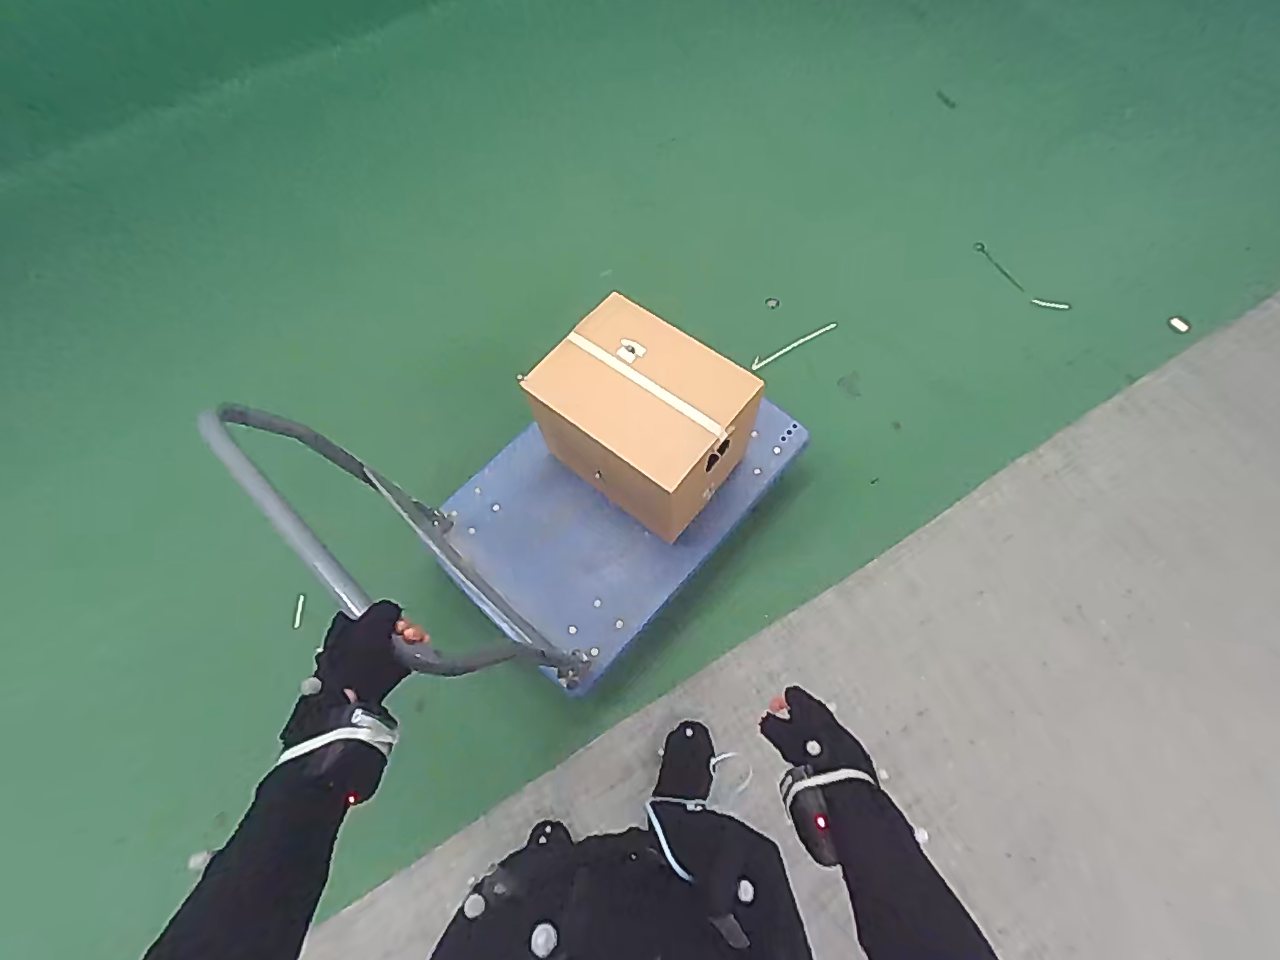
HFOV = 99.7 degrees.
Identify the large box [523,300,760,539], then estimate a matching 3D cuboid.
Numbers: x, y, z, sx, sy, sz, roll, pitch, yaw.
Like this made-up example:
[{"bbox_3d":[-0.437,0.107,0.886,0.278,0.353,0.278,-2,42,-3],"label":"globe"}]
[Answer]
[{"bbox_3d":[0.012,-0.129,1.250,0.408,0.320,0.320,35,71,18],"label":"large box"}]
